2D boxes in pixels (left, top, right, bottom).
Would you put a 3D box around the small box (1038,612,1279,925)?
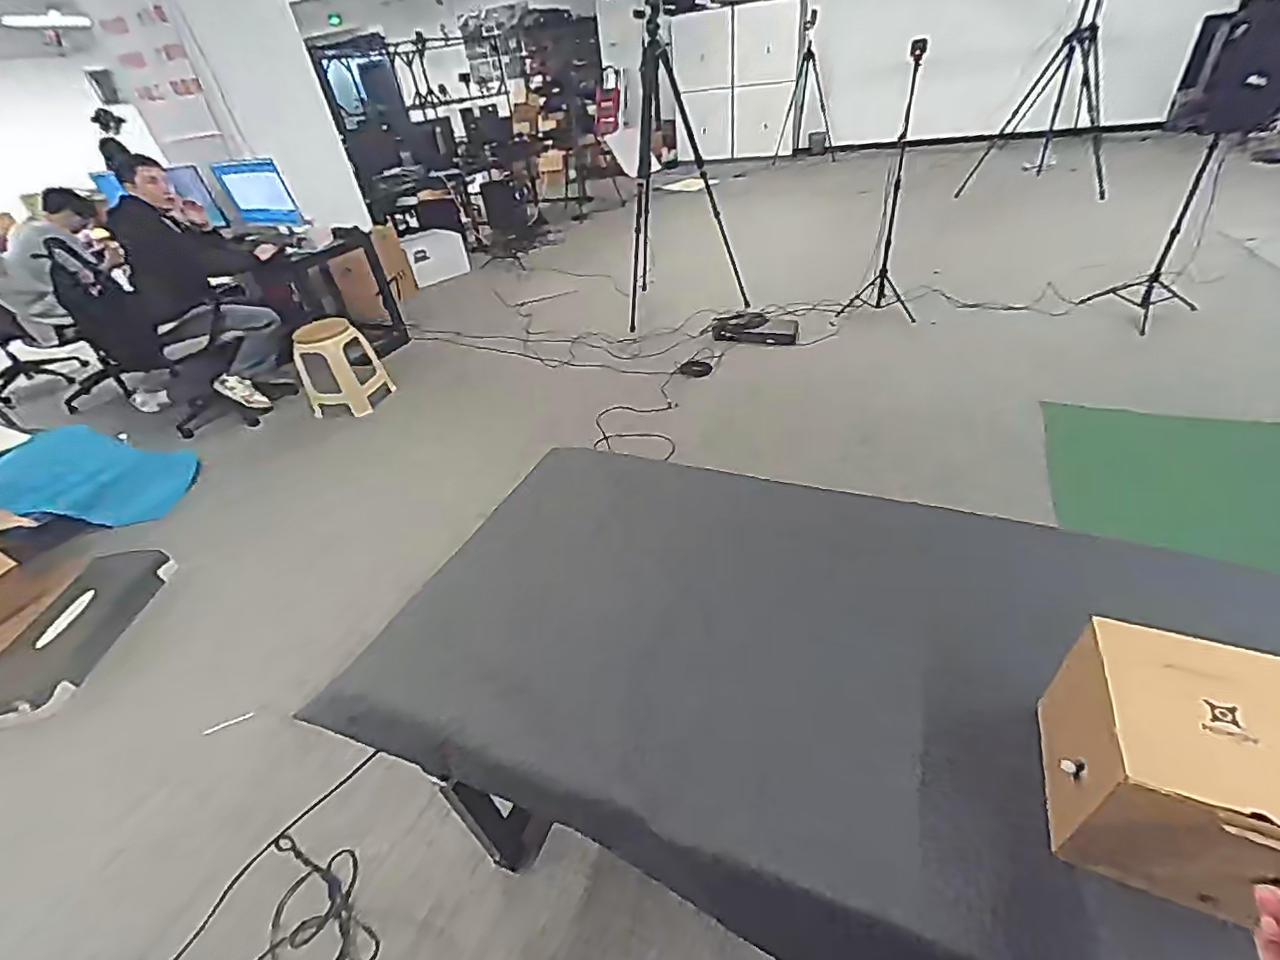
[{"bbox_3d":[0.499,0.261,0.502,0.168,0.176,0.179,12,40,22],"label":"small box"}]
